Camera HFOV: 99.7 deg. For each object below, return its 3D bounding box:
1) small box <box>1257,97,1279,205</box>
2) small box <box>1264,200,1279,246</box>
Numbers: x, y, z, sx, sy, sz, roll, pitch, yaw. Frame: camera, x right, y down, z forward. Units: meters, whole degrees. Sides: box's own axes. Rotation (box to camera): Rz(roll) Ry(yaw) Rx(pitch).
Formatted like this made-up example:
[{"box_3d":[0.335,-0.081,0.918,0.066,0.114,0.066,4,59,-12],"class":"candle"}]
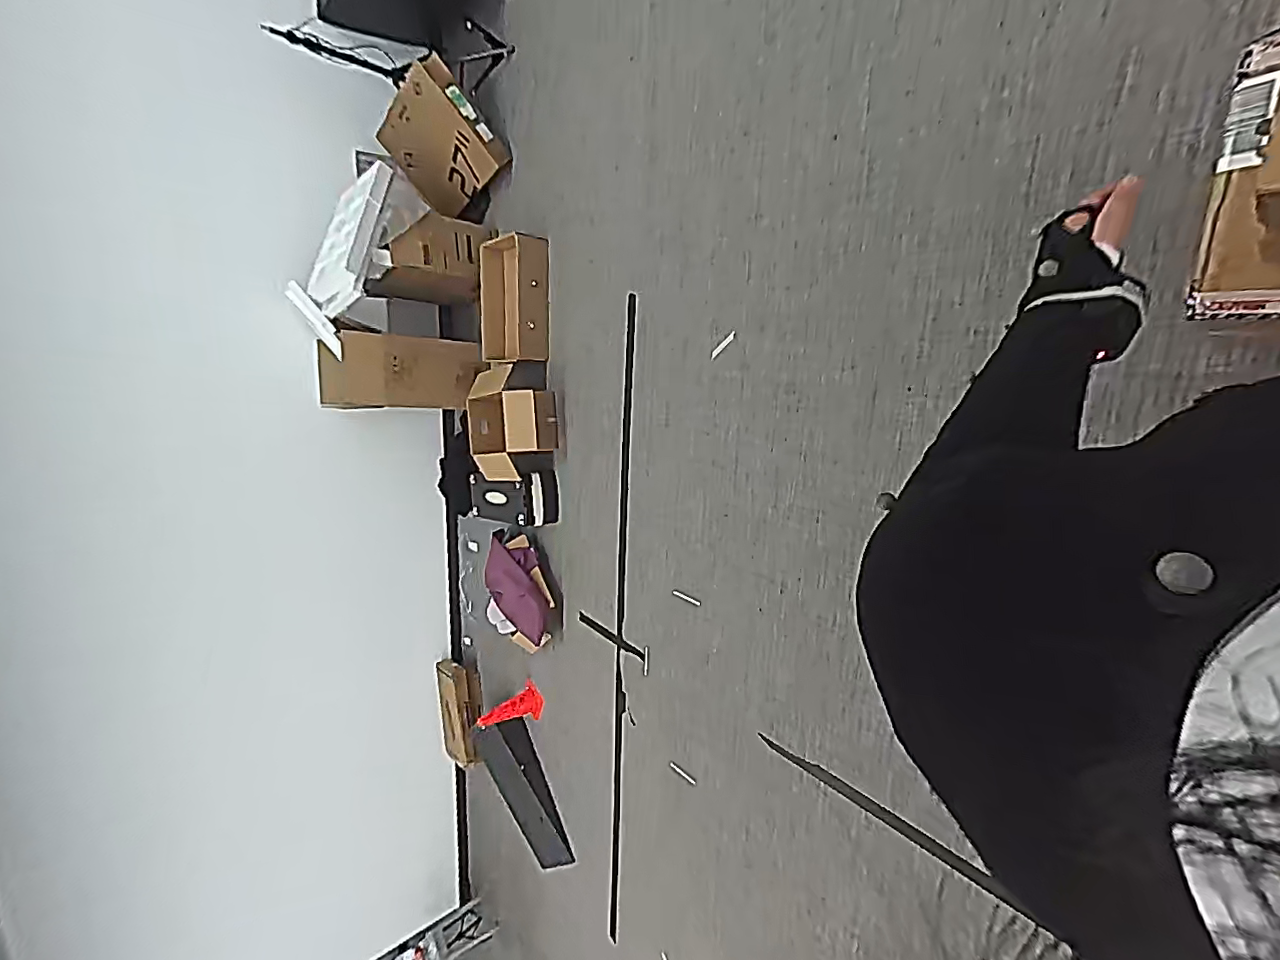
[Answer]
[{"box_3d":[0.645,-0.330,0.432,0.168,0.176,0.179,16,111,49],"class":"small box"},{"box_3d":[0.768,-0.341,0.540,0.168,0.176,0.179,13,109,49],"class":"small box"}]
